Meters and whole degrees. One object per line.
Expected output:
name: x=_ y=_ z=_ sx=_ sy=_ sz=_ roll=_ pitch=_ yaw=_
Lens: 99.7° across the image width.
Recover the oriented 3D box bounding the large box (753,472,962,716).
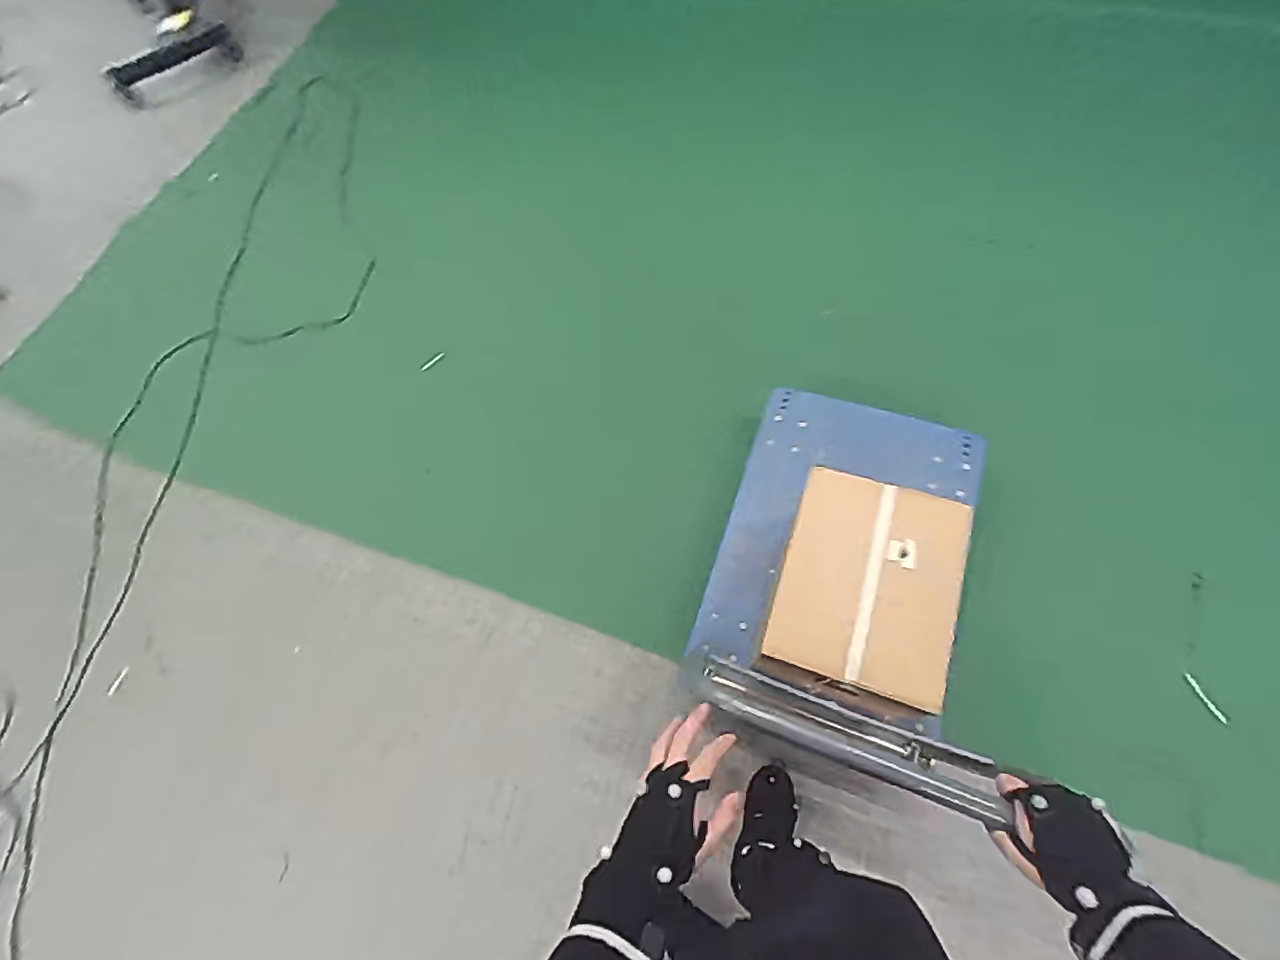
large box: x=0.451 y=0.255 z=1.173 sx=0.320 sy=0.320 sz=0.408 roll=17 pitch=69 yaw=14
